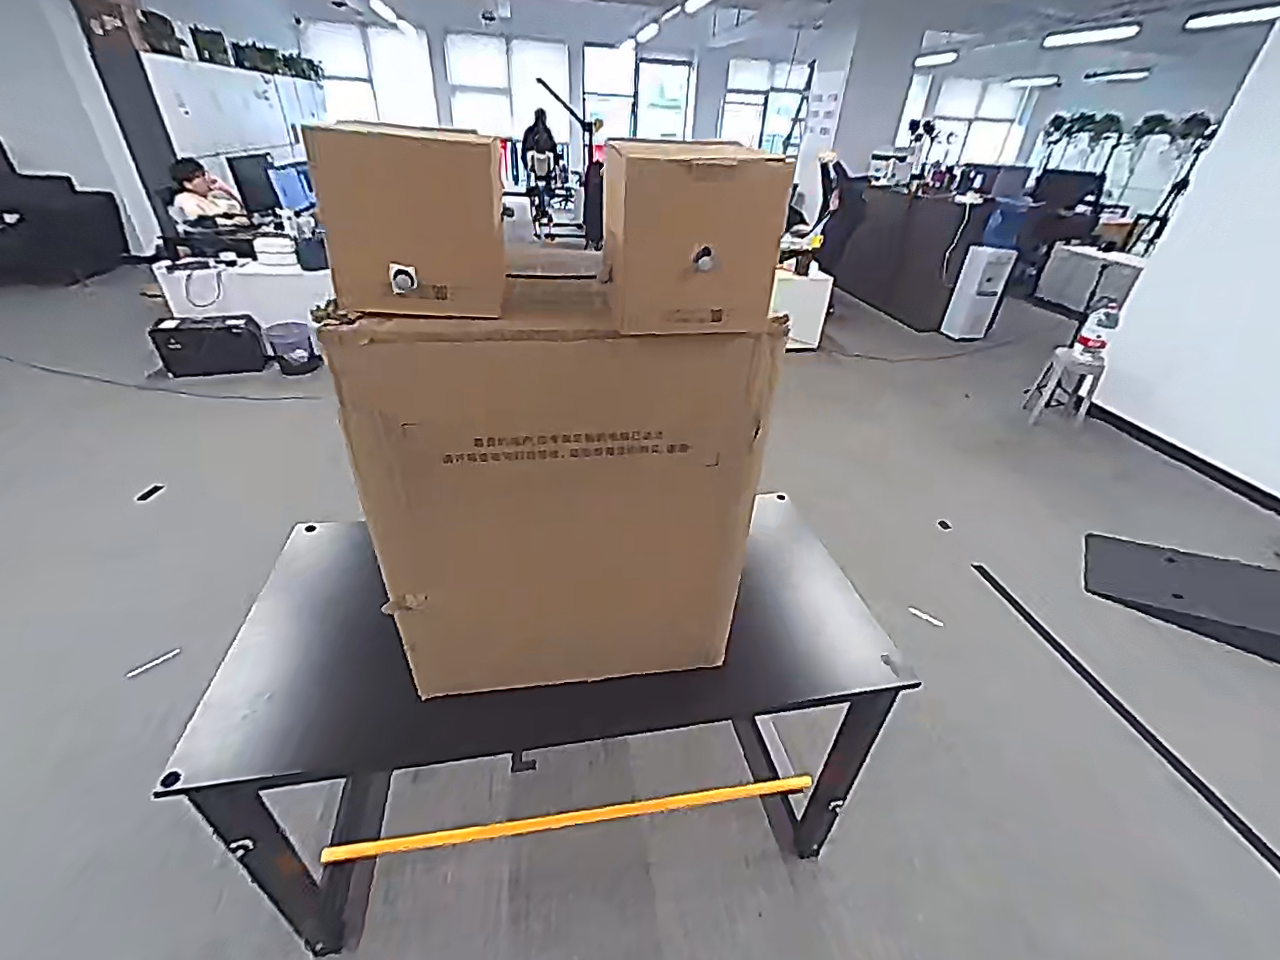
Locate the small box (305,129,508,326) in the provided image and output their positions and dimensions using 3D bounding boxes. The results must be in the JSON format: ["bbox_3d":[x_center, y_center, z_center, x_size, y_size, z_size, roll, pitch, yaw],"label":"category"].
[{"bbox_3d":[-0.239,-0.283,0.604,0.168,0.176,0.179,-2,34,-11],"label":"small box"}]

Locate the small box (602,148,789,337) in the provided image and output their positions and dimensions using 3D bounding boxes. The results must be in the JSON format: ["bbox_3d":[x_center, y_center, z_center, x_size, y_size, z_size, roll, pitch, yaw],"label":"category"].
[{"bbox_3d":[0.048,-0.269,0.613,0.168,0.176,0.179,-4,36,-9],"label":"small box"}]
